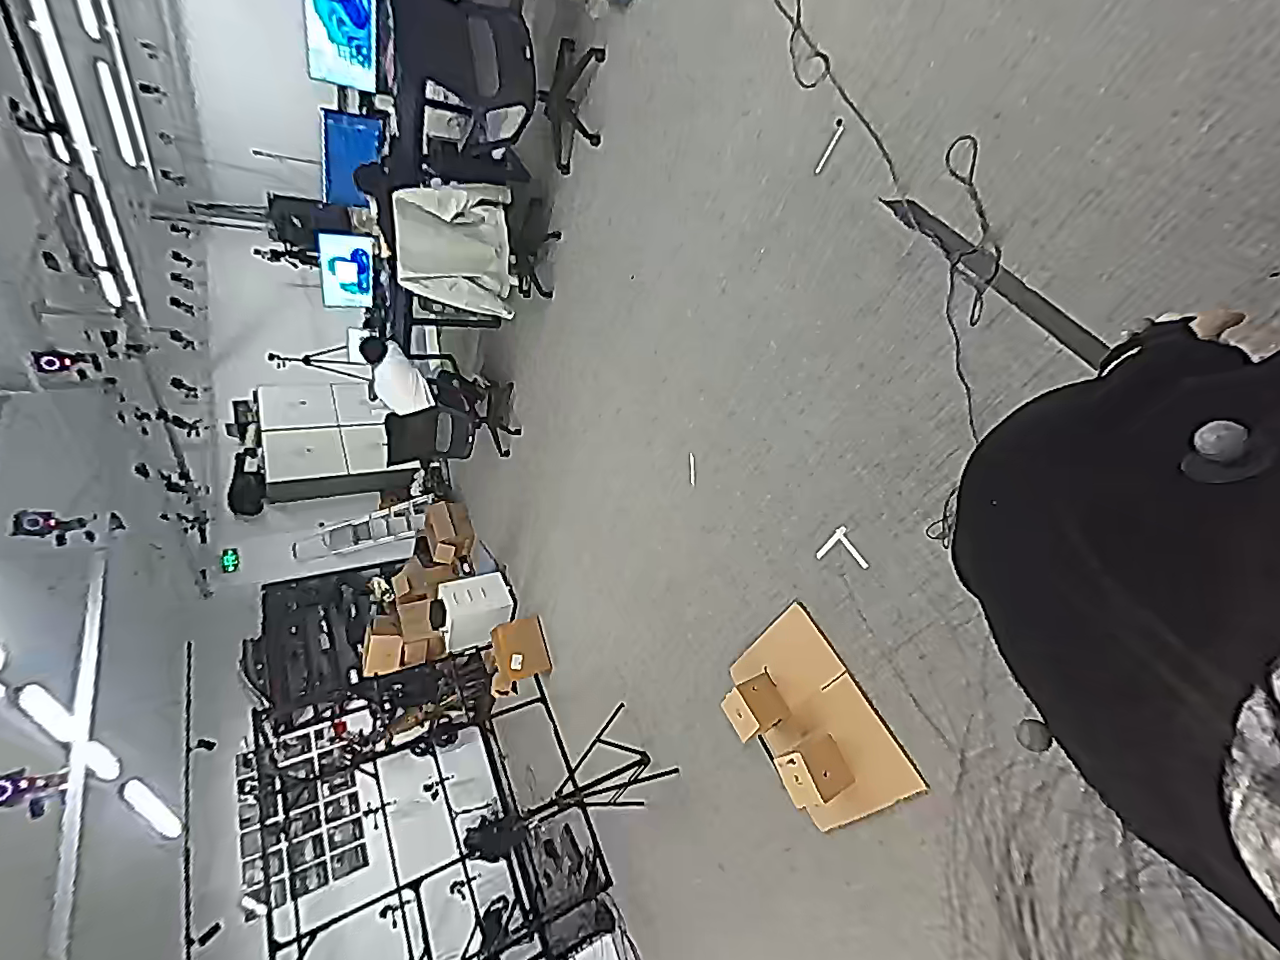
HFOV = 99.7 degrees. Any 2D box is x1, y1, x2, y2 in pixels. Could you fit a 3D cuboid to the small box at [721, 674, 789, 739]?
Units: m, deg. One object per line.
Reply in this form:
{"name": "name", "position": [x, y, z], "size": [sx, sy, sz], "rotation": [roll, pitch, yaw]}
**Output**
{"name": "small box", "position": [0.467, 0.912, 2.200], "size": [0.179, 0.176, 0.168], "rotation": [56, 141, 35]}

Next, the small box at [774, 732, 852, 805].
{"name": "small box", "position": [0.631, 1.049, 1.968], "size": [0.179, 0.176, 0.168], "rotation": [64, 144, 23]}
